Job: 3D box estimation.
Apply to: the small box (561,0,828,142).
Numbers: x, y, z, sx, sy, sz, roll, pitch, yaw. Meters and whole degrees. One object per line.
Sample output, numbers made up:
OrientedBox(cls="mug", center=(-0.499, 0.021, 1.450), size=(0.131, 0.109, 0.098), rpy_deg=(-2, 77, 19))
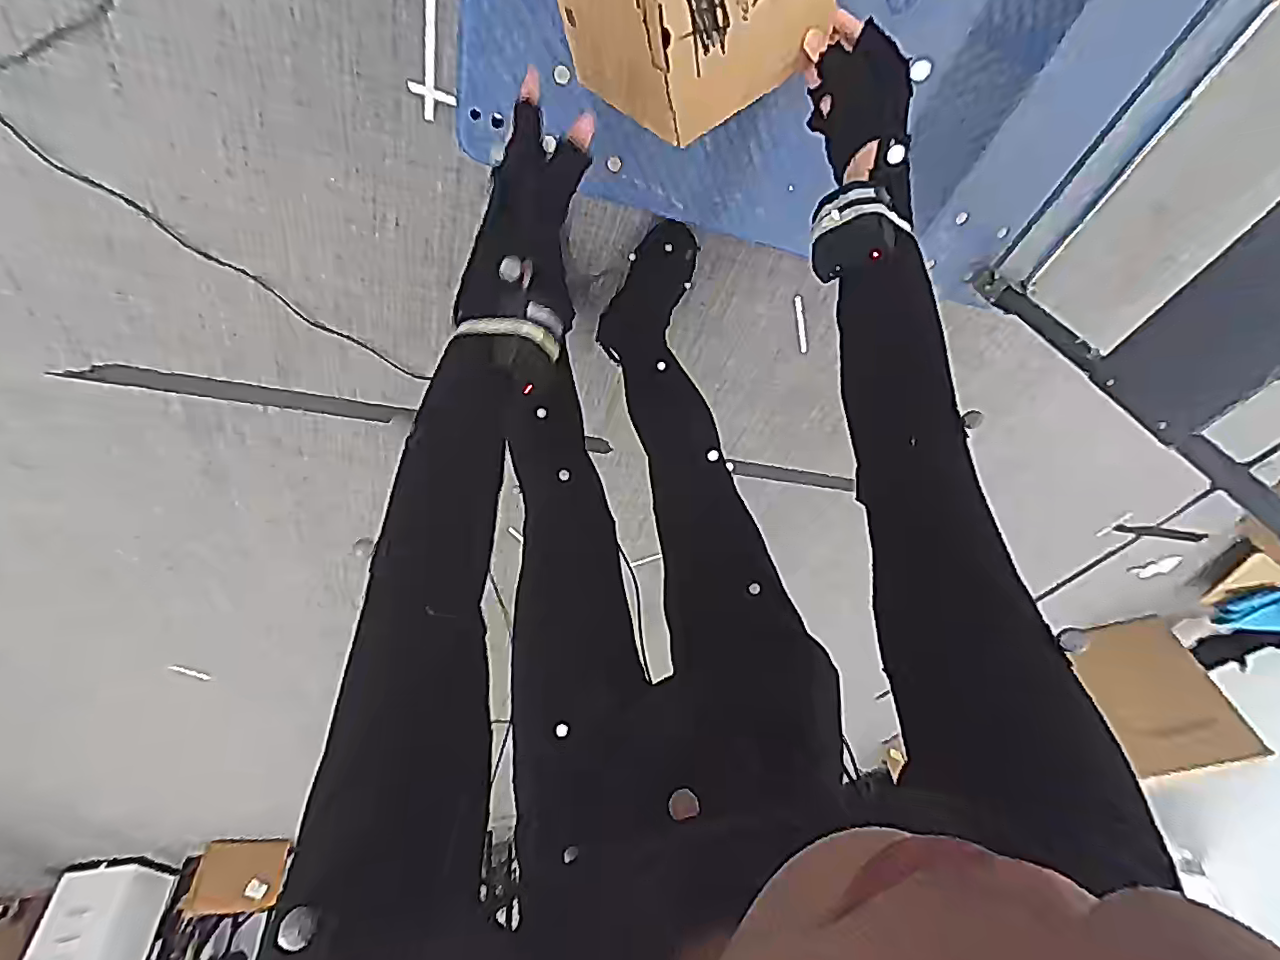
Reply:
OrientedBox(cls="small box", center=(0.035, -0.427, 0.444), size=(0.179, 0.176, 0.168), rpy_deg=(-36, 152, -8))
